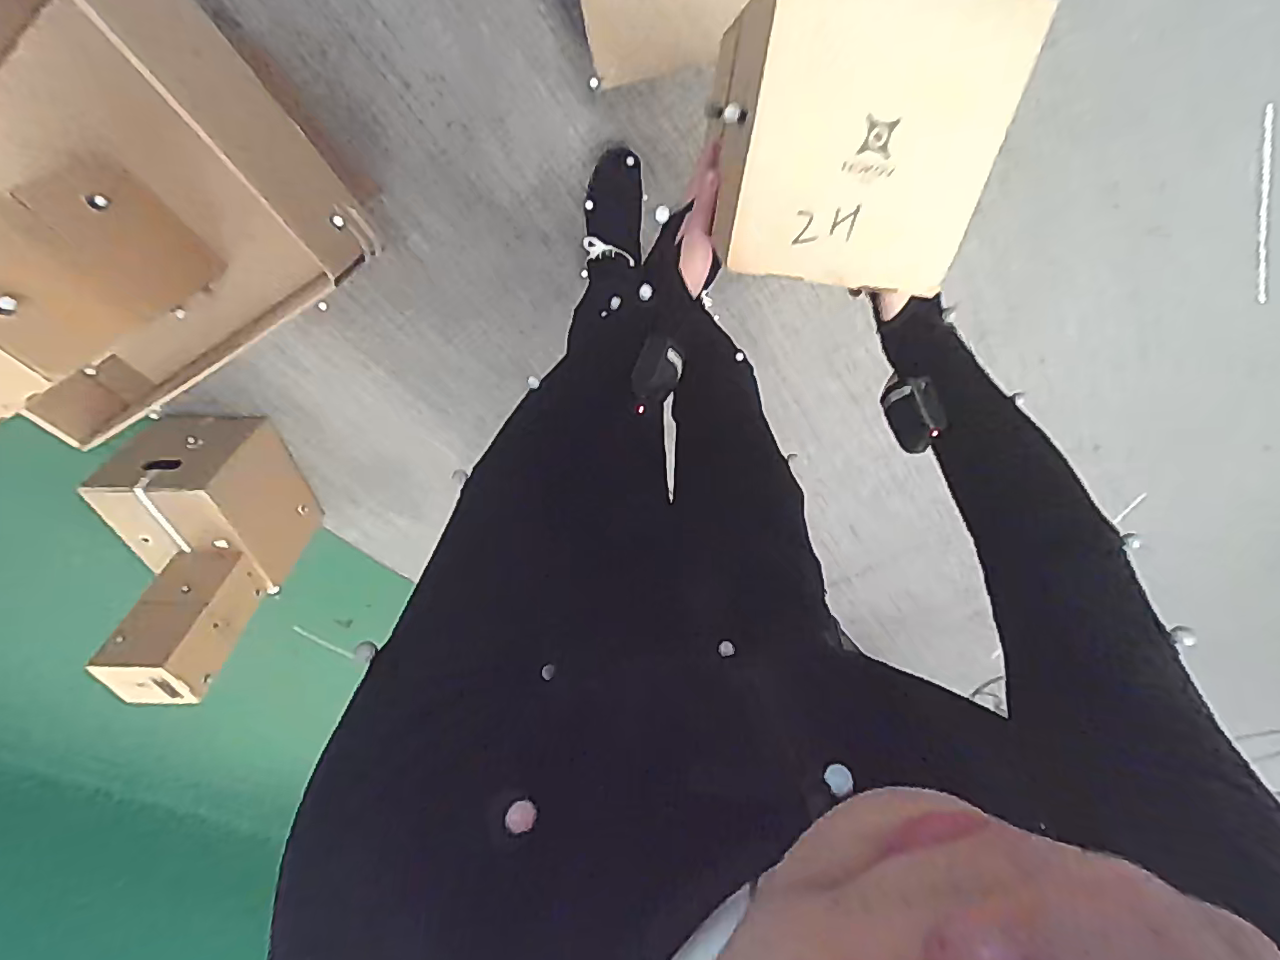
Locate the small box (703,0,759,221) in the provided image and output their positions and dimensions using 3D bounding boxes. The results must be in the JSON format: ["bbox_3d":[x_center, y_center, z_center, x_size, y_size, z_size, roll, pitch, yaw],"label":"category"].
[{"bbox_3d":[0.163,-0.365,0.560,0.168,0.176,0.179,7,125,-3],"label":"small box"}]

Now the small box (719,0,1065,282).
[{"bbox_3d":[0.161,-0.273,0.420,0.168,0.176,0.179,7,124,-2],"label":"small box"}]

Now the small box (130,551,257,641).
[{"bbox_3d":[-1.139,0.300,1.406,0.179,0.176,0.168,3,131,-3],"label":"small box"}]

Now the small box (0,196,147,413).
[{"bbox_3d":[-0.737,-0.195,0.608,0.168,0.176,0.179,-20,130,18],"label":"small box"}]
